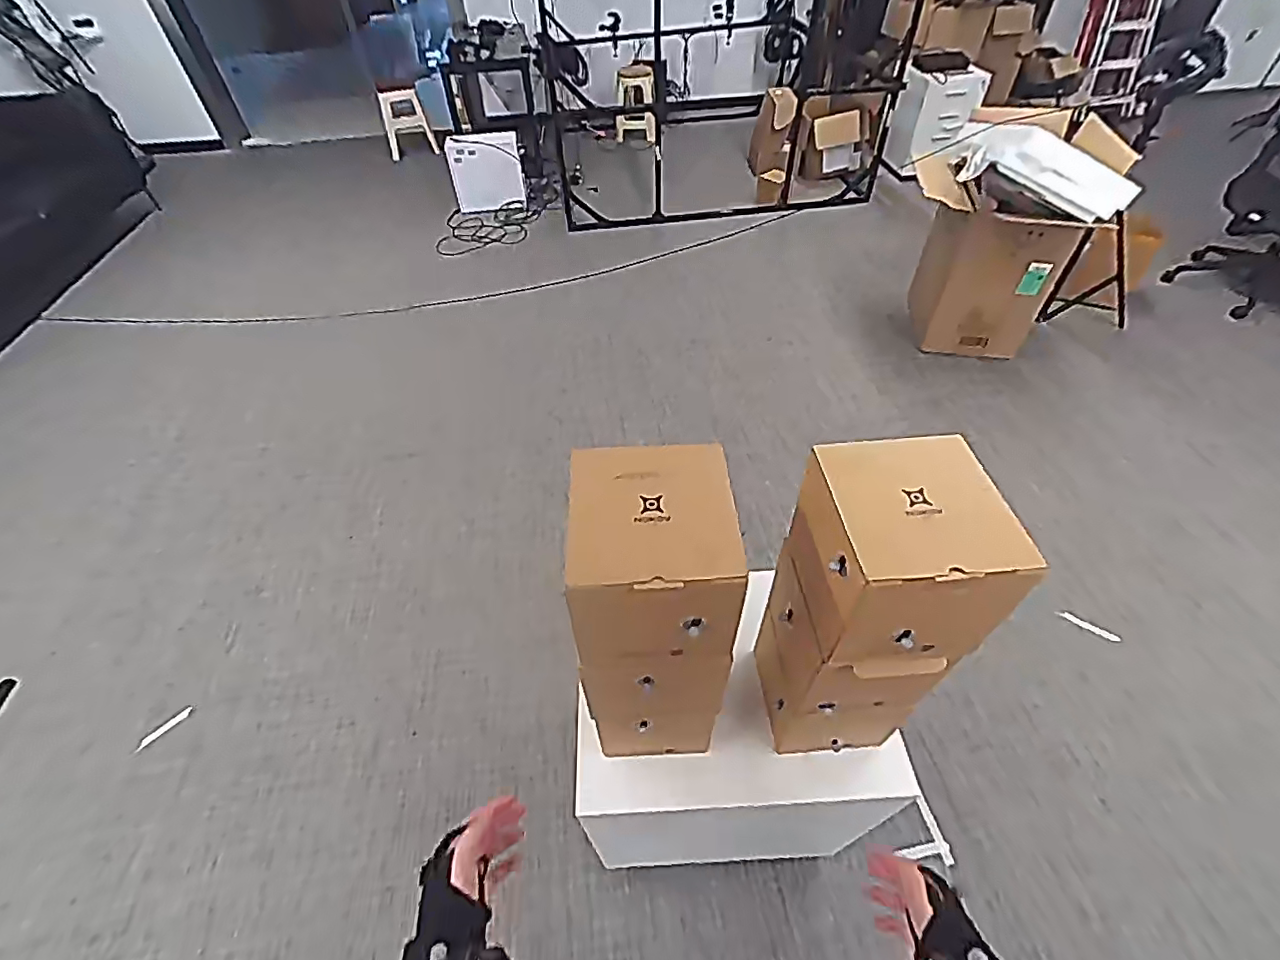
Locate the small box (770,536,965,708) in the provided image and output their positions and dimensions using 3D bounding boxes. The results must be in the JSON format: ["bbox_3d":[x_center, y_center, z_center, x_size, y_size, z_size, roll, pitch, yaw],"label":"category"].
[{"bbox_3d":[0.278,0.185,0.708,0.168,0.176,0.179,-4,47,-1],"label":"small box"}]

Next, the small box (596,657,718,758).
[{"bbox_3d":[0.022,0.306,0.831,0.168,0.176,0.179,-2,47,0],"label":"small box"}]

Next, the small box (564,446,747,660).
[{"bbox_3d":[0.014,0.085,0.589,0.168,0.176,0.179,-2,47,-1],"label":"small box"}]

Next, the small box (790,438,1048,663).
[{"bbox_3d":[0.273,0.077,0.586,0.168,0.176,0.179,-4,48,-1],"label":"small box"}]
